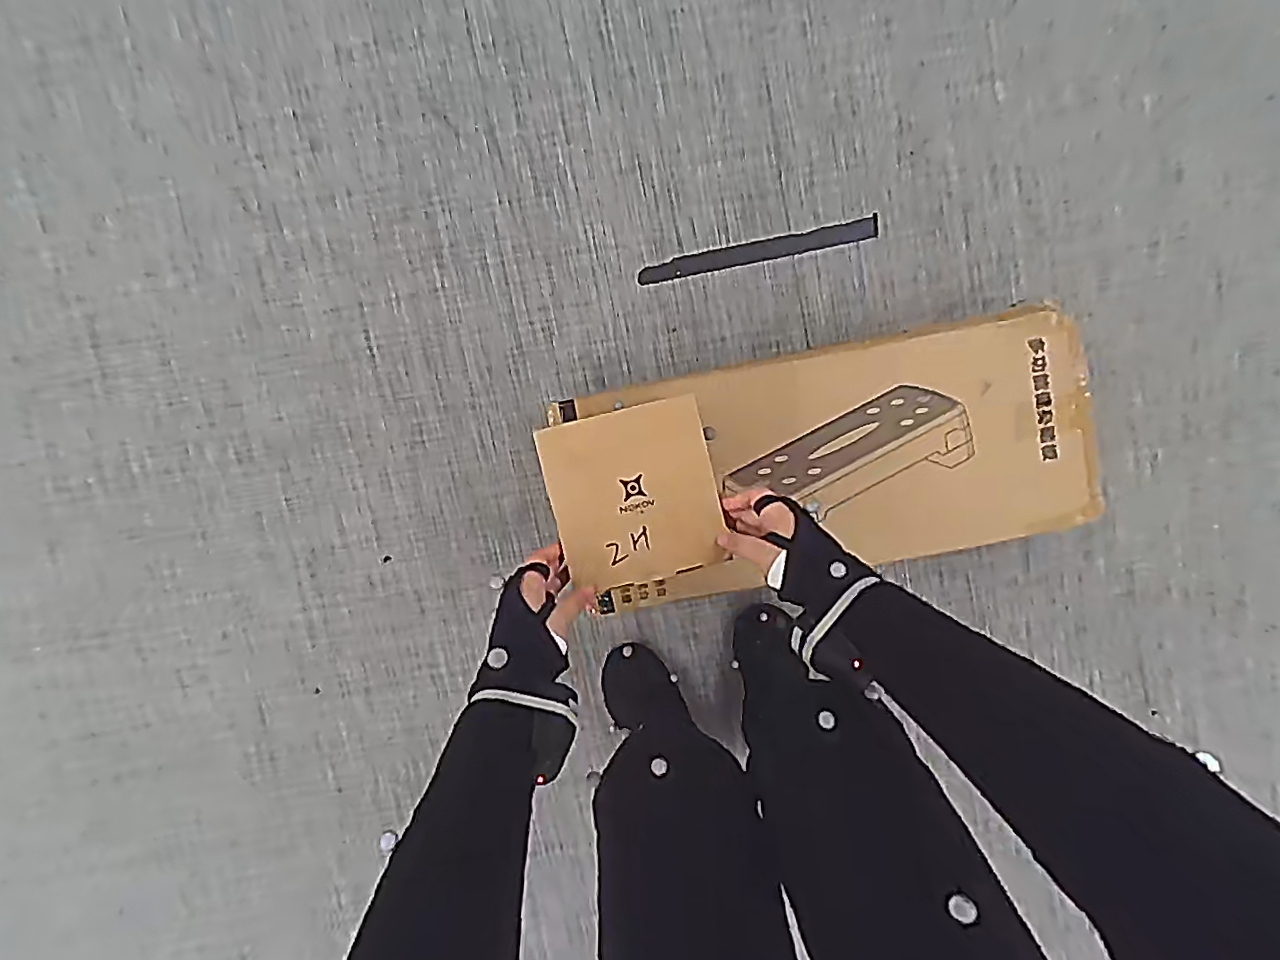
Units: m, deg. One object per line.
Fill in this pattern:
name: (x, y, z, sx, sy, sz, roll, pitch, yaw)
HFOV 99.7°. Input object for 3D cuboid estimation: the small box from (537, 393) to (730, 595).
small box: (-0.008, 0.011, 0.619, 0.168, 0.176, 0.179, -14, 94, 0)
